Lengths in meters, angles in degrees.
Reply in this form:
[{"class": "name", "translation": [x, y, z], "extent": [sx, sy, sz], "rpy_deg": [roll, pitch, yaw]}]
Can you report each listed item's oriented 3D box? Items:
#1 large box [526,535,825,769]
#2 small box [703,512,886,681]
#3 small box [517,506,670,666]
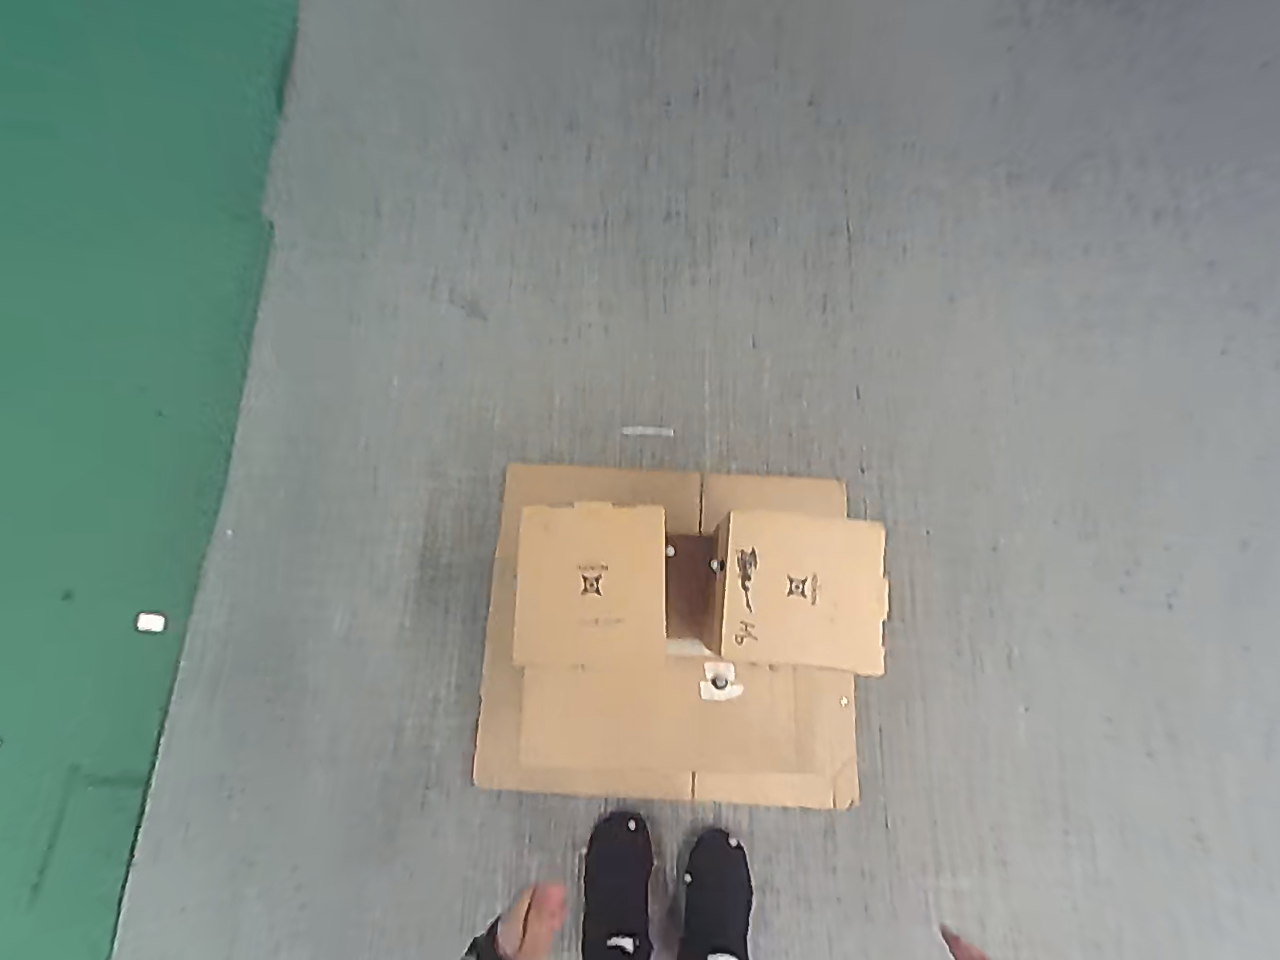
[{"class": "large box", "translation": [0.043, 0.268, 0.890], "extent": [0.408, 0.320, 0.320], "rpy_deg": [1, 76, -1]}, {"class": "small box", "translation": [0.181, 0.143, 0.669], "extent": [0.179, 0.176, 0.168], "rpy_deg": [7, 76, 1]}, {"class": "small box", "translation": [-0.050, 0.135, 0.673], "extent": [0.168, 0.176, 0.179], "rpy_deg": [-1, 75, 0]}]
